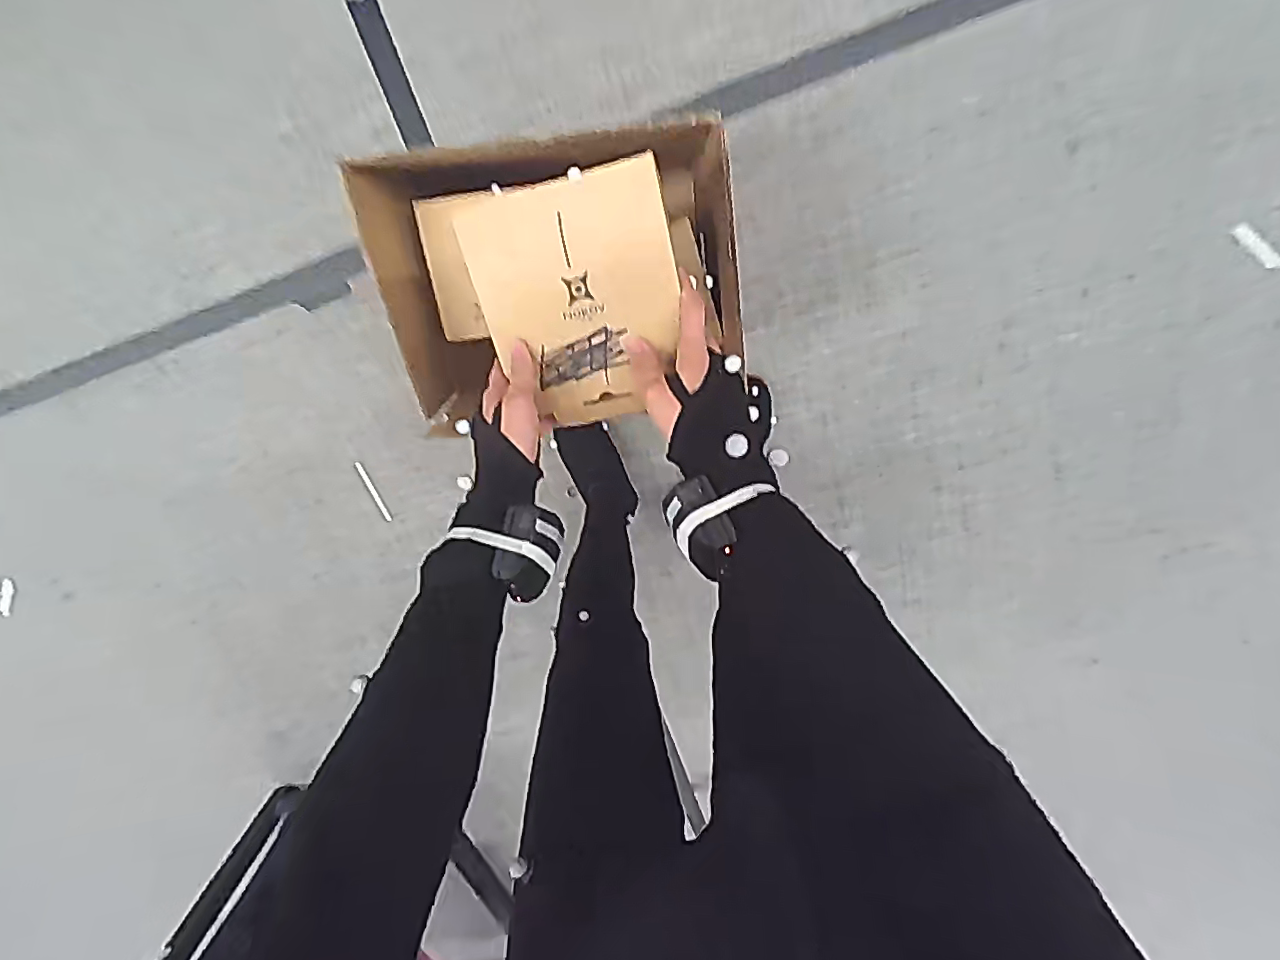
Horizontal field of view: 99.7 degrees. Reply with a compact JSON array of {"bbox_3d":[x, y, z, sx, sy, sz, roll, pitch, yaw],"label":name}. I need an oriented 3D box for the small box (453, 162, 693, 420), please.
[{"bbox_3d":[-0.044,-0.176,0.515,0.168,0.176,0.179,-11,112,8],"label":"small box"}]
